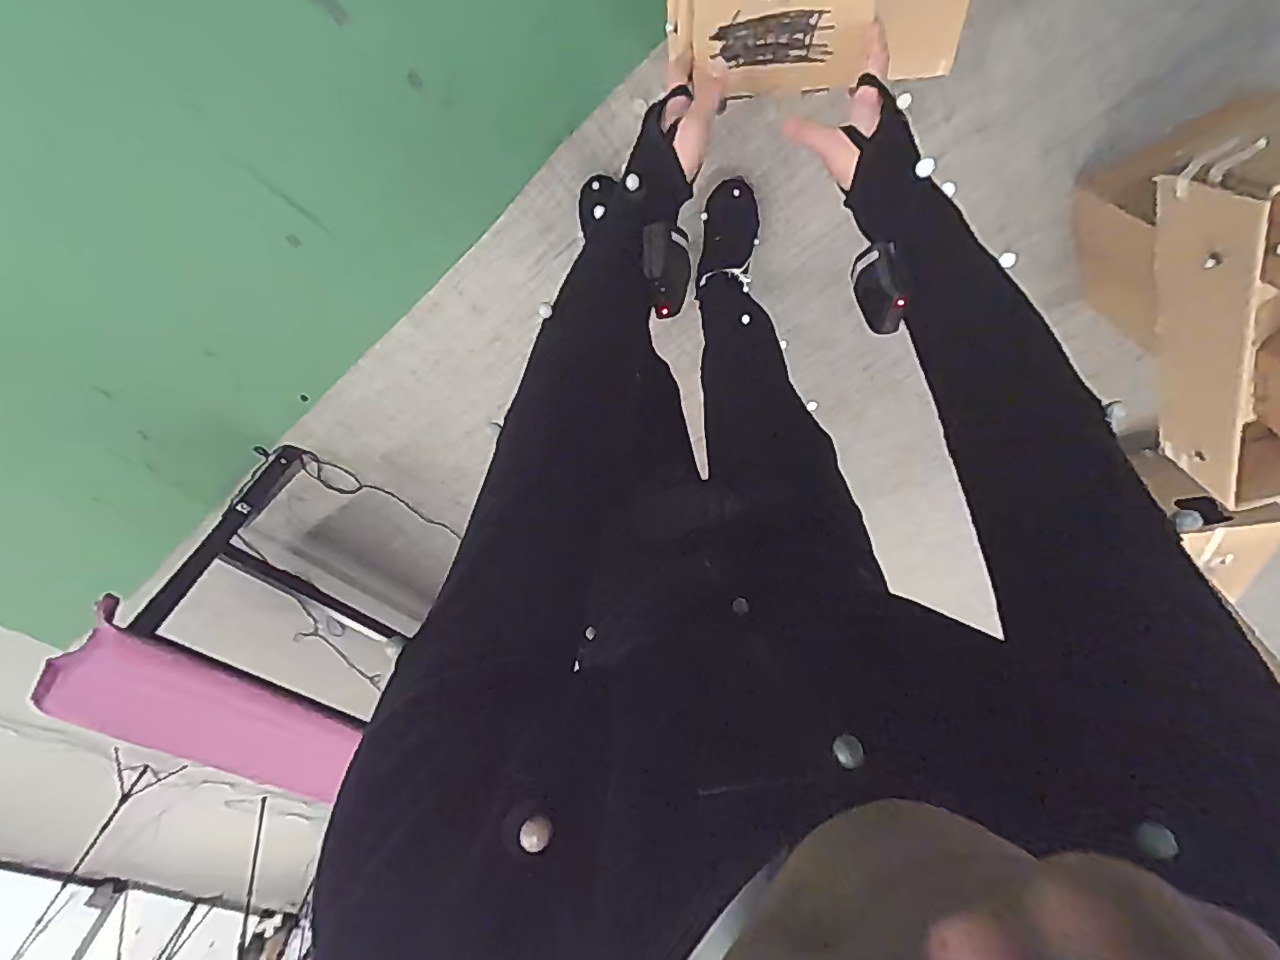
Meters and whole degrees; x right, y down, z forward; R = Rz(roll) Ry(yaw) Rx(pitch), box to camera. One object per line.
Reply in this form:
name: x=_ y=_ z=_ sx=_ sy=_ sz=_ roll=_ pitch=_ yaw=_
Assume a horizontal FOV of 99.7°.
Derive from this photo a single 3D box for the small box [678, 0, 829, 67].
small box: x=0.132 y=-0.614 z=0.646 sx=0.168 sy=0.176 sz=0.179 roll=0 pitch=134 yaw=3
